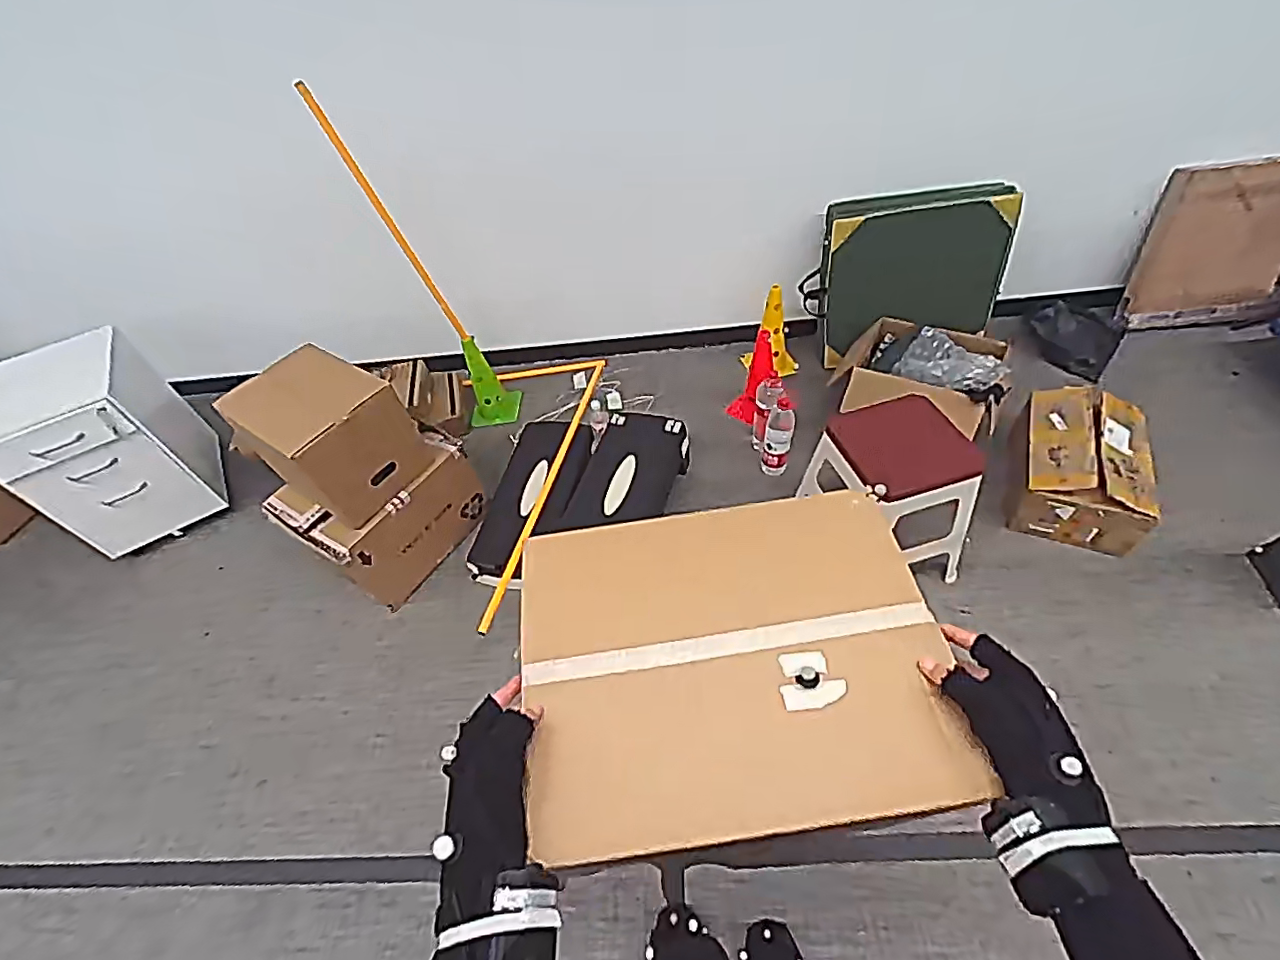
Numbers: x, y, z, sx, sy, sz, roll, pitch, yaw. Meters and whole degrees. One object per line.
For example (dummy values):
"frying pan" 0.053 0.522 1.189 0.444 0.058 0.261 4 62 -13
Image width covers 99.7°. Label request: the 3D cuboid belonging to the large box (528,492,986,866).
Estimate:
"large box" 0.094 0.253 0.665 0.408 0.320 0.320 -8 54 0
